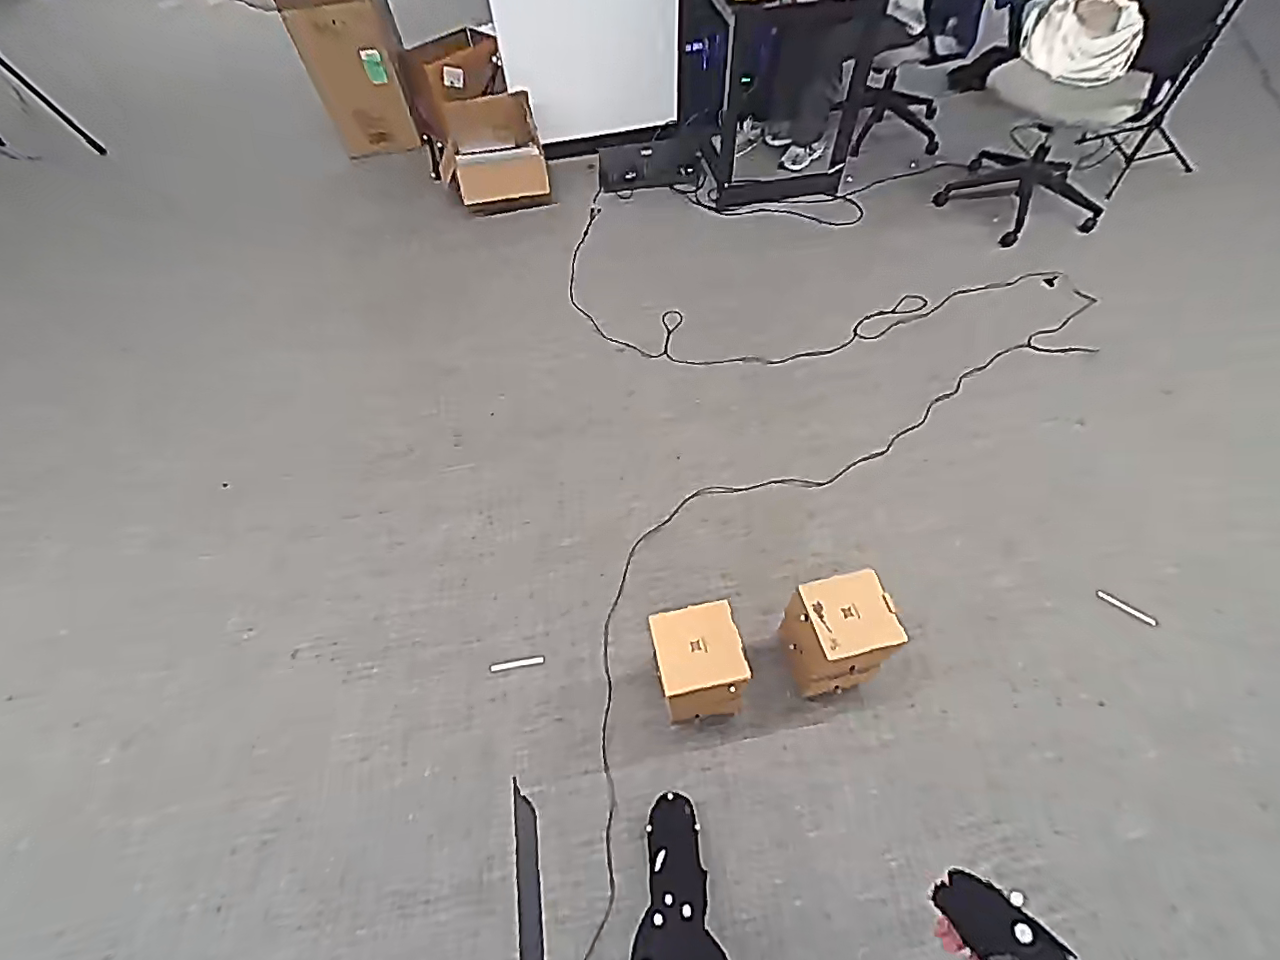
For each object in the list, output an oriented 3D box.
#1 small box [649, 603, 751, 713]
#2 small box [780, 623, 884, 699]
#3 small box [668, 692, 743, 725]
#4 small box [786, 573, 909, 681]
[{"bbox_3d":[0.125,0.388,1.164,0.179,0.176,0.168,-12,57,-4],"label":"small box"},{"bbox_3d":[0.455,0.414,1.320,0.168,0.176,0.179,-12,58,-4],"label":"small box"},{"bbox_3d":[0.141,0.473,1.301,0.168,0.176,0.179,-9,58,-2],"label":"small box"},{"bbox_3d":[0.441,0.324,1.183,0.179,0.176,0.168,-12,57,-5],"label":"small box"}]
